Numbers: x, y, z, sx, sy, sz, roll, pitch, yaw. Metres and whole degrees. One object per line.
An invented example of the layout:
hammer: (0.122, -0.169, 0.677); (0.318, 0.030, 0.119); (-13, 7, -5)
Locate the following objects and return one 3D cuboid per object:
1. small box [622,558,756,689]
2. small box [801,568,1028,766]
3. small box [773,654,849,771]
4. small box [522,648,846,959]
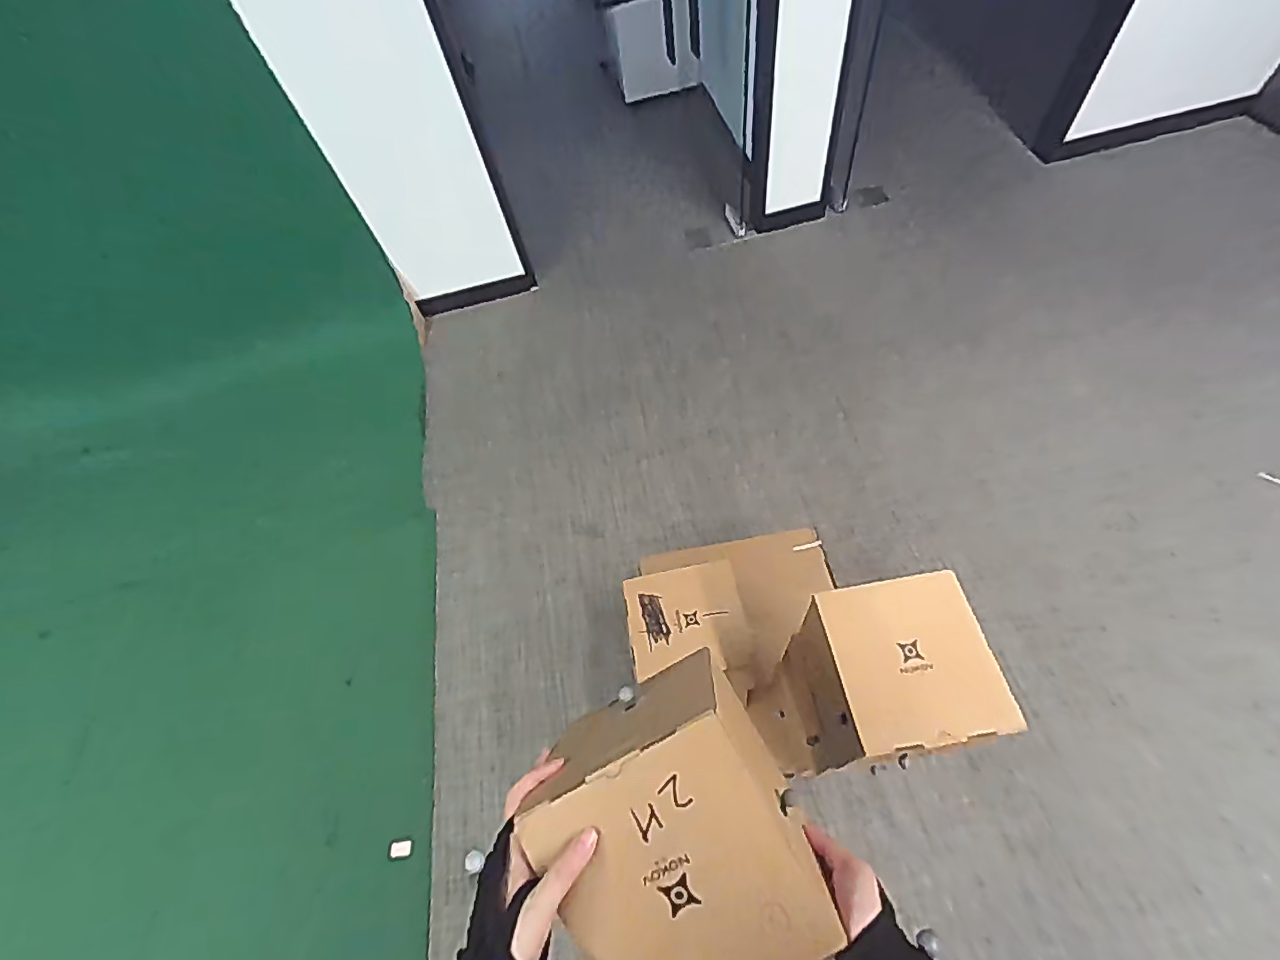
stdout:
small box: (0.082, 0.248, 0.868); (0.179, 0.176, 0.168); (-13, 57, 3)
small box: (0.305, 0.230, 0.652); (0.168, 0.176, 0.179); (-11, 58, 2)
small box: (0.342, 0.393, 0.934); (0.179, 0.176, 0.168); (-13, 57, 2)
small box: (0.035, 0.269, 0.449); (0.168, 0.176, 0.179); (-30, 85, 3)
